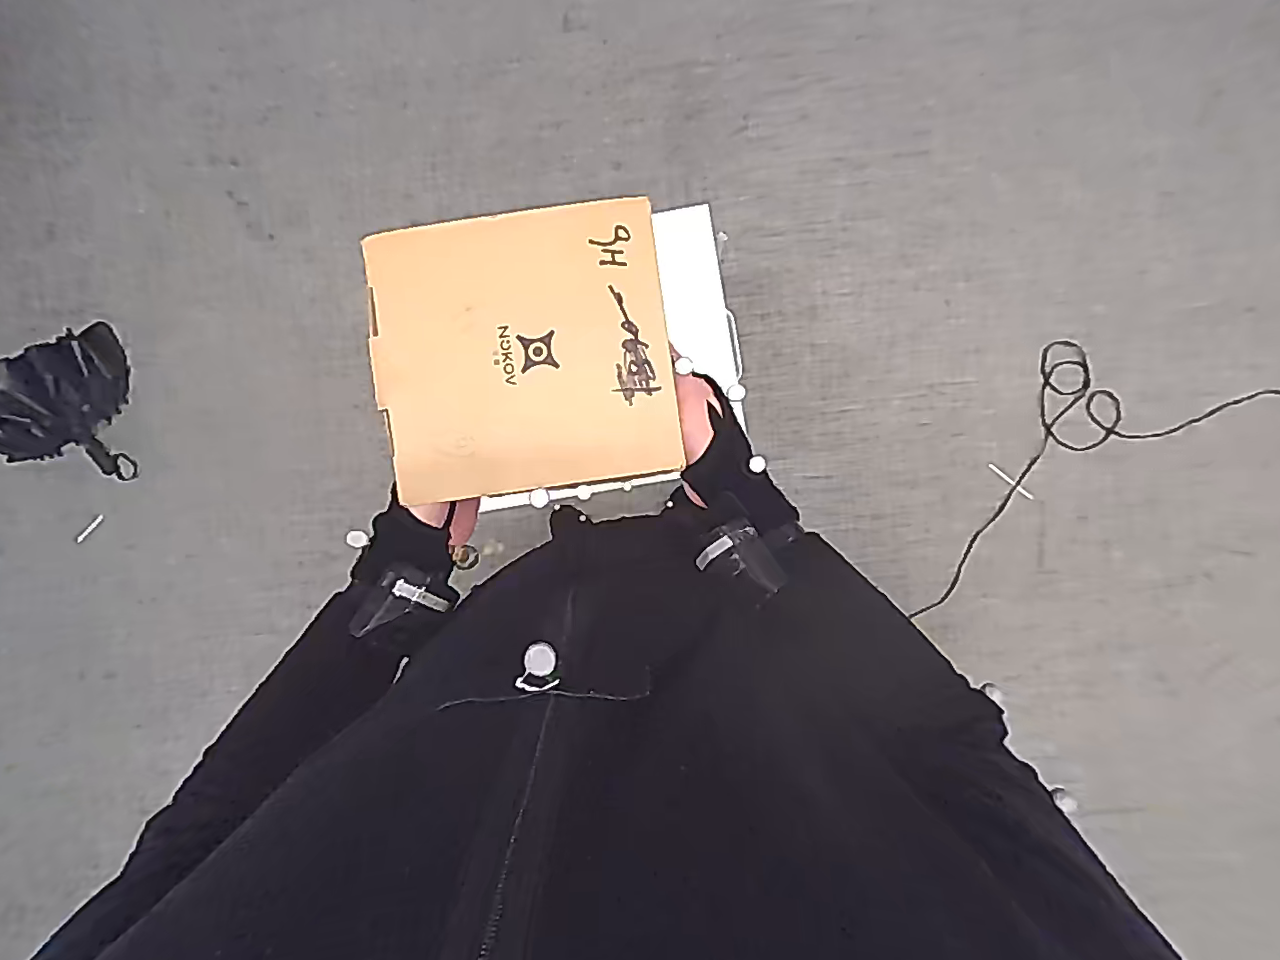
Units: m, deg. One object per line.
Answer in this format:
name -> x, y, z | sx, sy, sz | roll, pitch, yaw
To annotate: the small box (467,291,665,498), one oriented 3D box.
small box -> -0.068, -0.078, 0.573 | 0.168, 0.176, 0.179 | -7, 91, 1
